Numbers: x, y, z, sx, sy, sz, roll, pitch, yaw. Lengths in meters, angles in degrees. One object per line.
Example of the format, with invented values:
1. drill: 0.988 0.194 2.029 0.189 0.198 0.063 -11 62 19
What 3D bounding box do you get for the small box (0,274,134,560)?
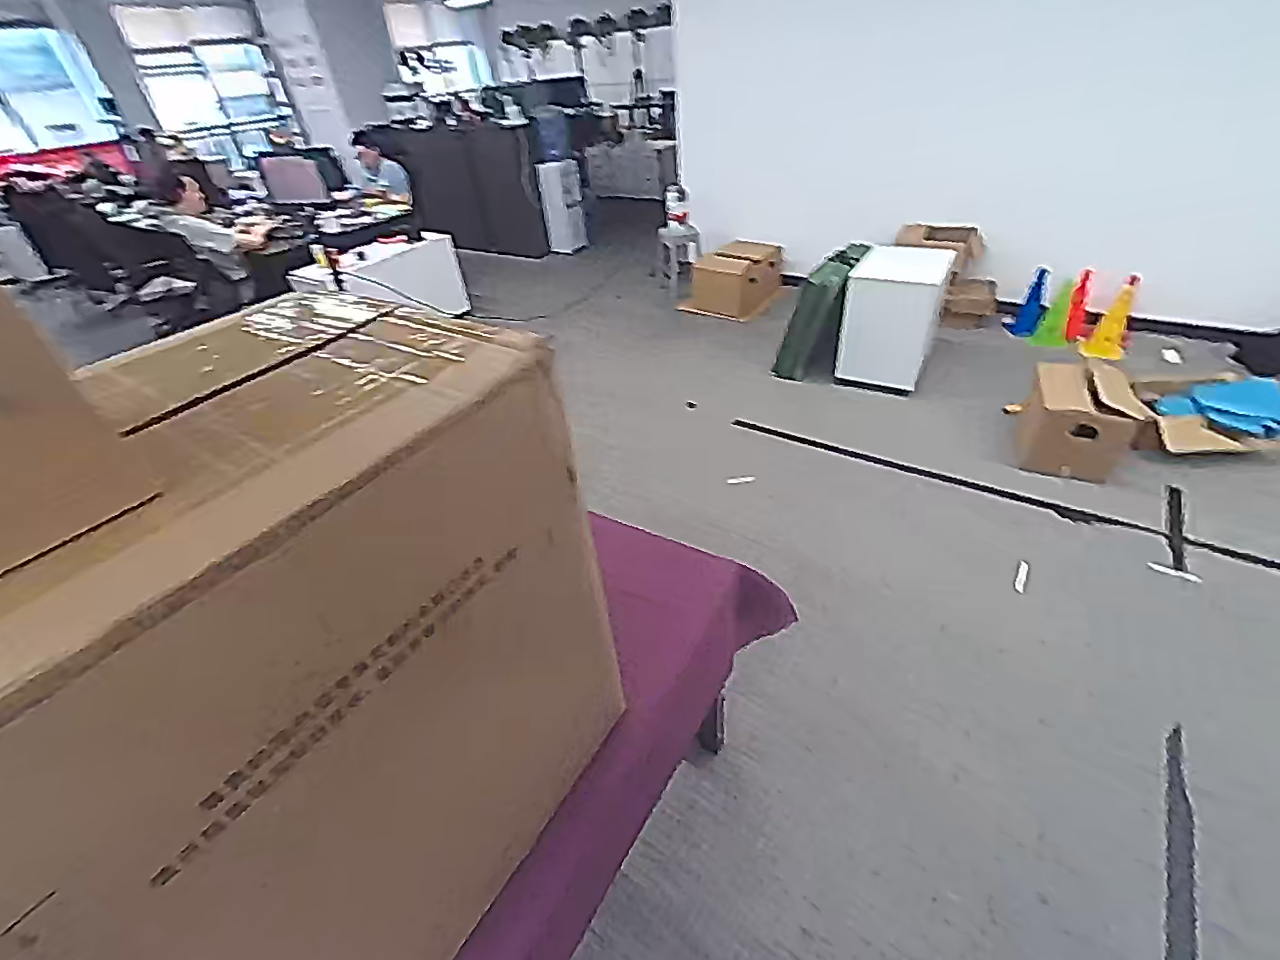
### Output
1. small box: -0.416 -0.038 0.271 0.168 0.176 0.179 18 45 28
